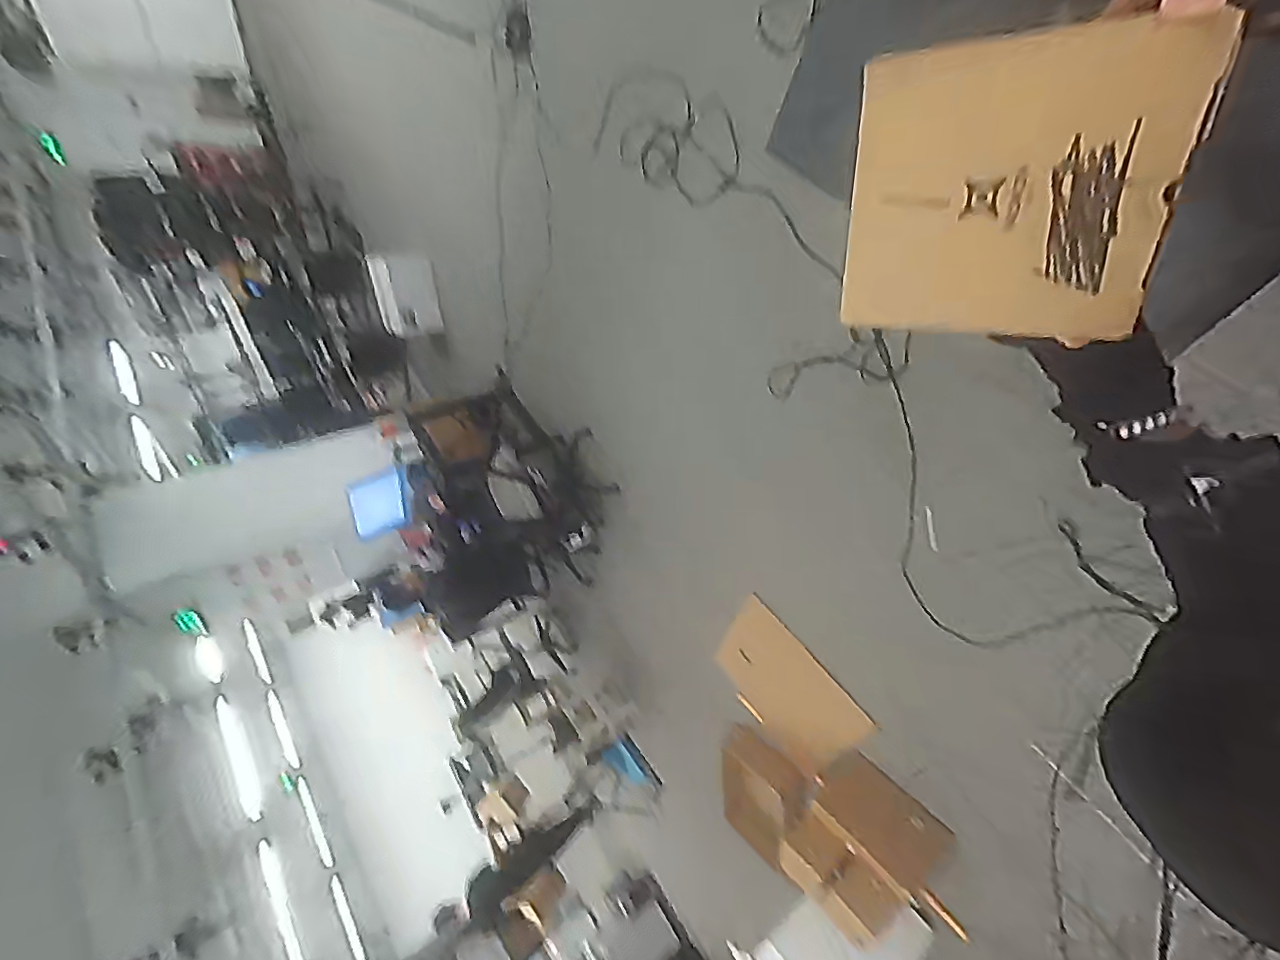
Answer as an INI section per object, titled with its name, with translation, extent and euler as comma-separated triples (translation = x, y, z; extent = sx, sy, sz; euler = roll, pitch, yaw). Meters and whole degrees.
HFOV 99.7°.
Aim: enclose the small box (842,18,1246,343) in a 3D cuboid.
[small box]
translation = 0.264, -0.209, 0.399
extent = 0.179, 0.176, 0.168
euler = 12, 123, 28
